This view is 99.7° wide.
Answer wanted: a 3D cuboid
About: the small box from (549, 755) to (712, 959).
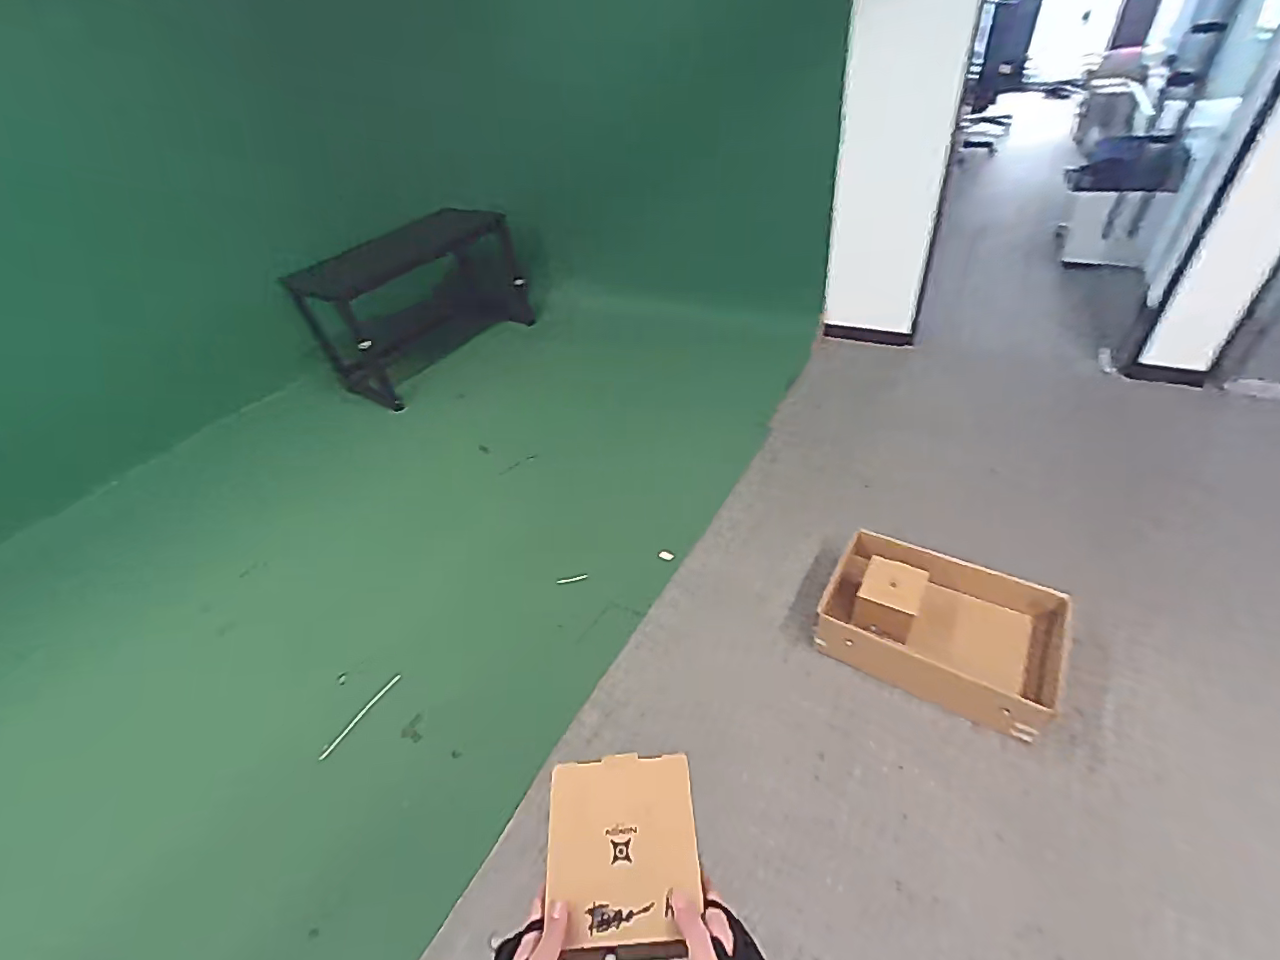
[{"bbox_3d":[-0.007,0.455,0.651,0.168,0.176,0.179,-4,45,1],"label":"small box"}]
